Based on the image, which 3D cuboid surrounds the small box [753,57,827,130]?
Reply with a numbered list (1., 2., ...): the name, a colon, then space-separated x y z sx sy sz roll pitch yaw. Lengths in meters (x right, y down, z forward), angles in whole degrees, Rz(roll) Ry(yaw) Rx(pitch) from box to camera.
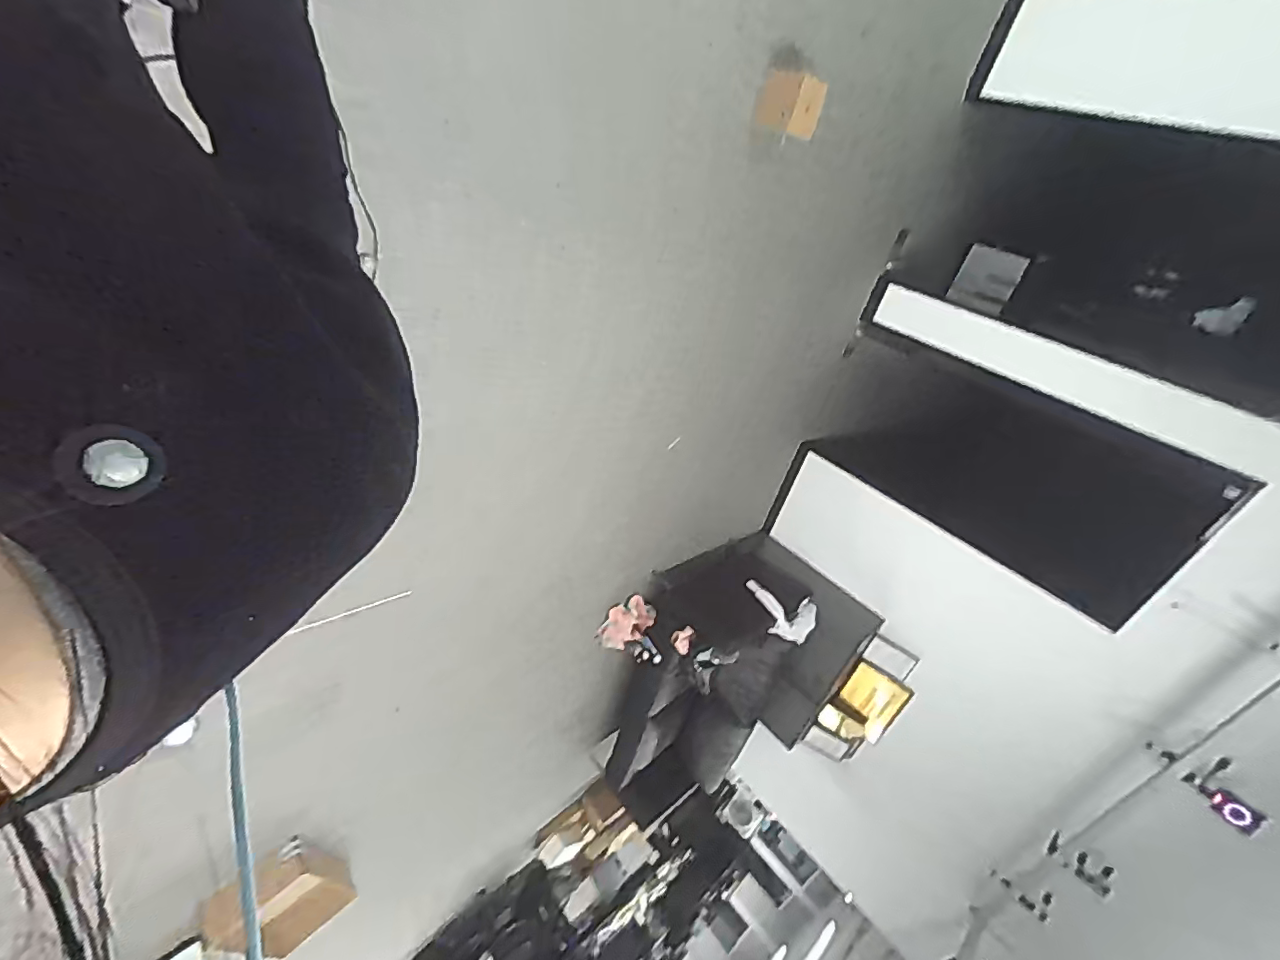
1. small box: 0.529 -1.379 1.930 0.168 0.176 0.179 -19 134 -40
